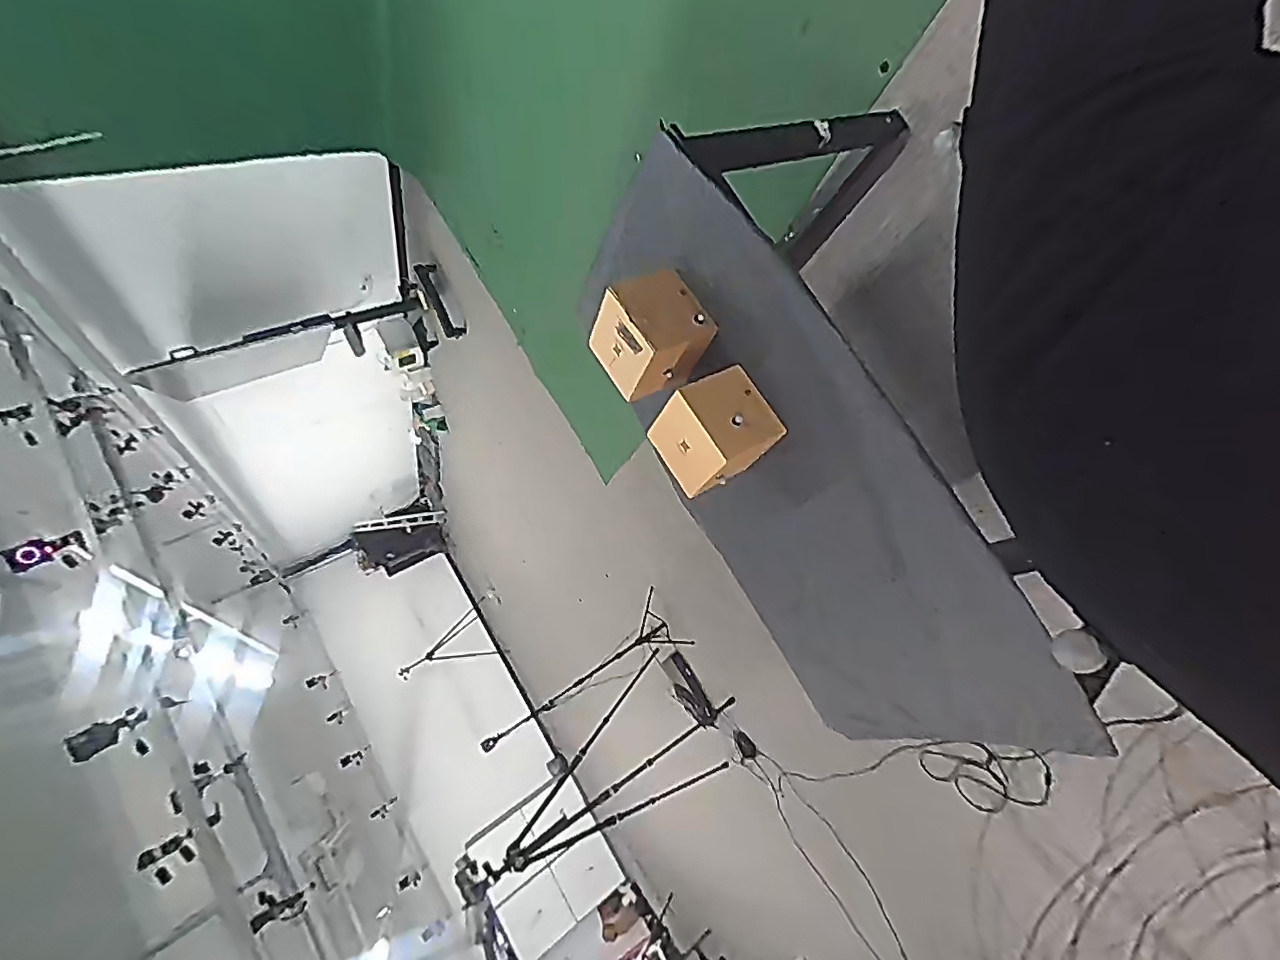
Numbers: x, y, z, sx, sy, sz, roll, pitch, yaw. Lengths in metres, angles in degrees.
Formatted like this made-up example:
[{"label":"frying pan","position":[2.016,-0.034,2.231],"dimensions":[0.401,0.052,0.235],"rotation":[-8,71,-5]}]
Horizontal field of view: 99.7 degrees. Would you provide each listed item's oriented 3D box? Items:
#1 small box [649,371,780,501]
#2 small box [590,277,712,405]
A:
[{"label":"small box","position":[0.151,-0.090,1.079],"dimensions":[0.168,0.176,0.179],"rotation":[57,152,12]},{"label":"small box","position":[0.024,-0.290,1.119],"dimensions":[0.168,0.176,0.179],"rotation":[57,152,12]}]
